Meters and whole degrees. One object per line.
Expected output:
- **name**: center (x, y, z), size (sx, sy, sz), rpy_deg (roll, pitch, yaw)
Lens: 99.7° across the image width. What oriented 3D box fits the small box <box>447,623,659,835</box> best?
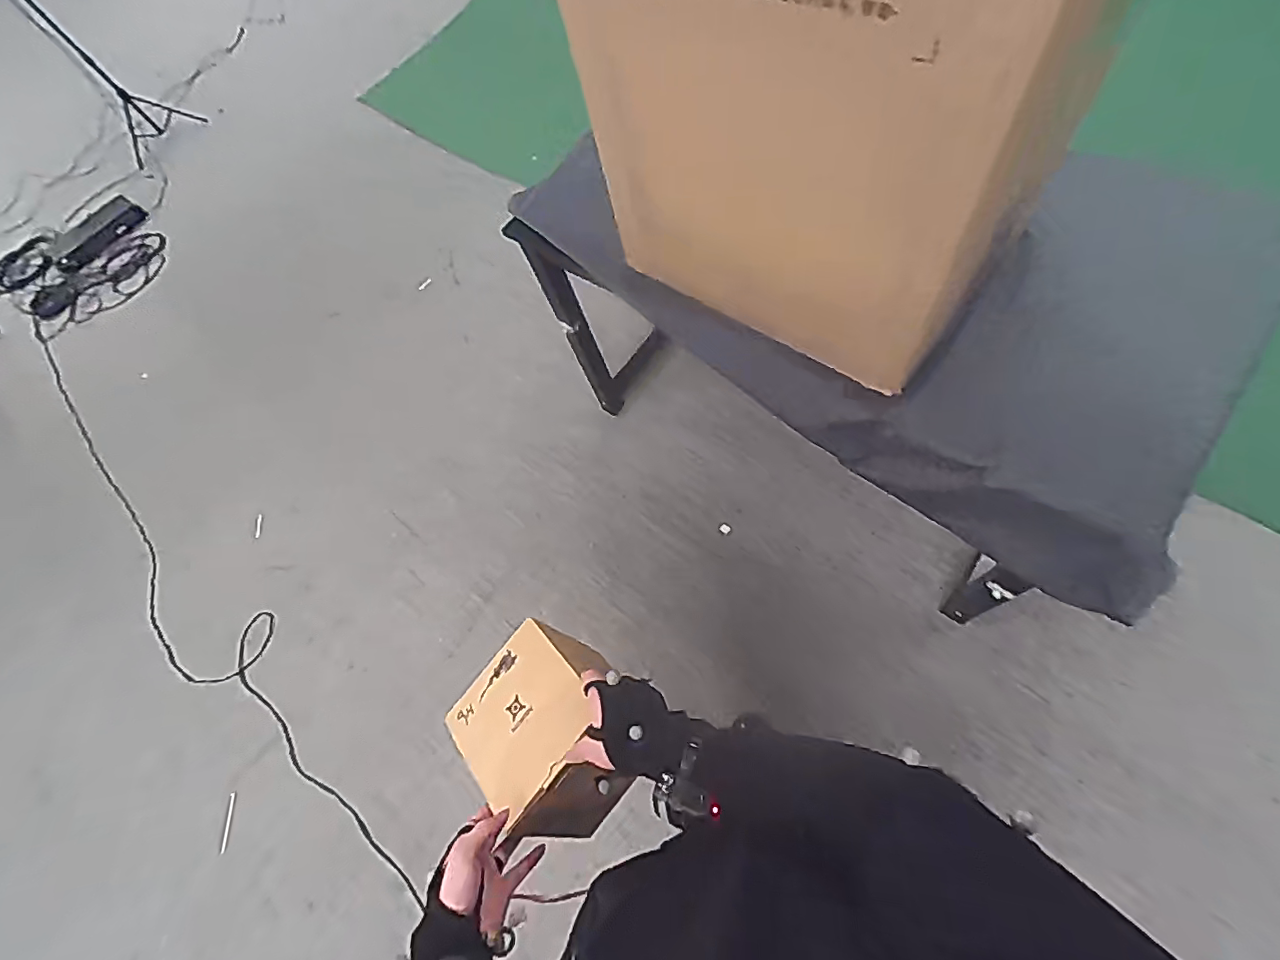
- **small box**: center (-0.106, 0.320, 0.701), size (0.168, 0.176, 0.179), rpy_deg (-50, 47, -6)
